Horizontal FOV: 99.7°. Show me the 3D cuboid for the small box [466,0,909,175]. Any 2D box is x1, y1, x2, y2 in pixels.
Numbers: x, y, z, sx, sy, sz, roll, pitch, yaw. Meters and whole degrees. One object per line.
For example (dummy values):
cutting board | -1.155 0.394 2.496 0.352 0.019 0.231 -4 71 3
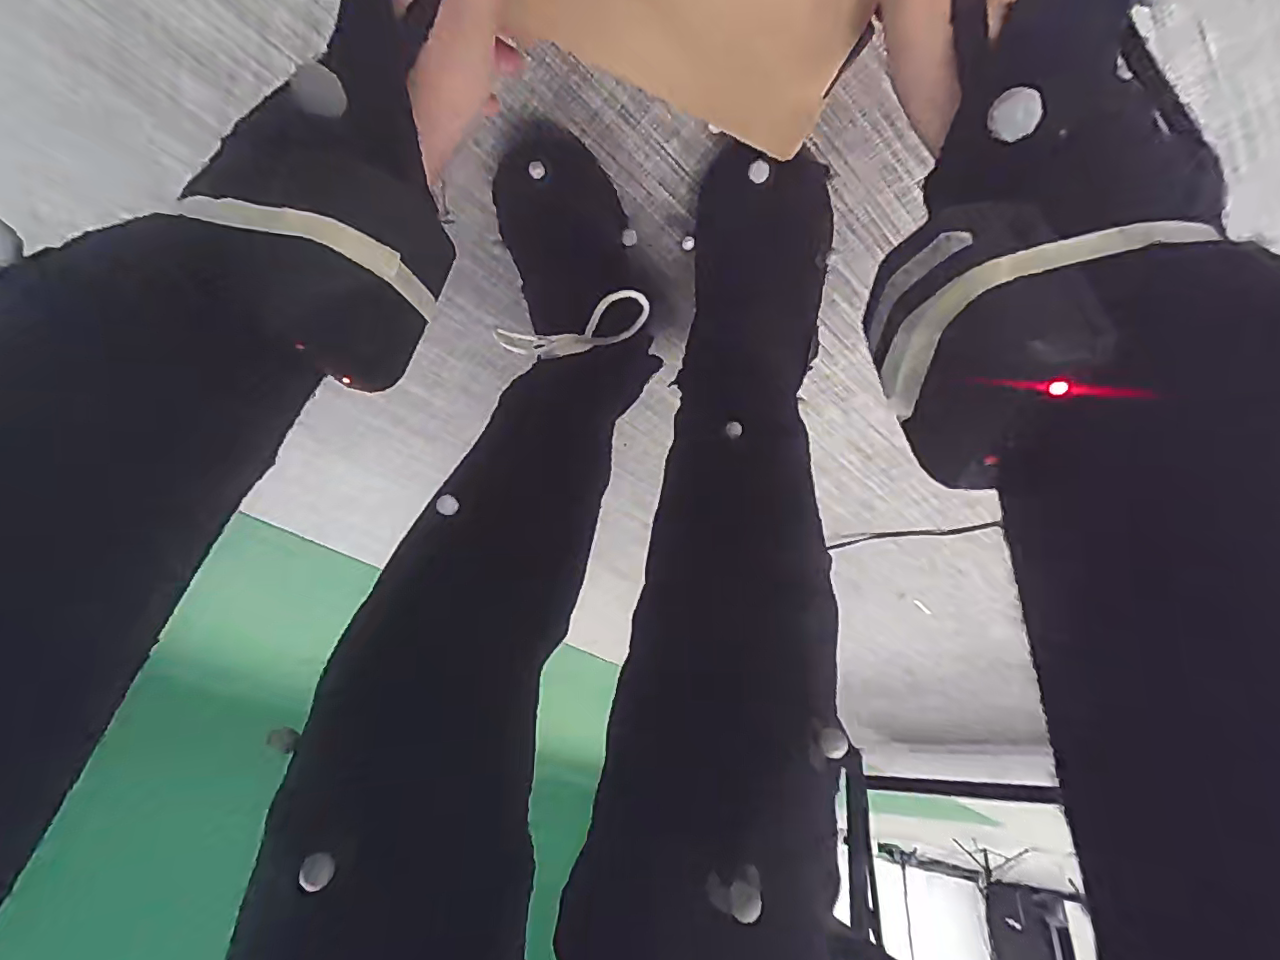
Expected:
small box | 0.041 -0.284 0.236 0.179 0.176 0.168 19 146 -12
